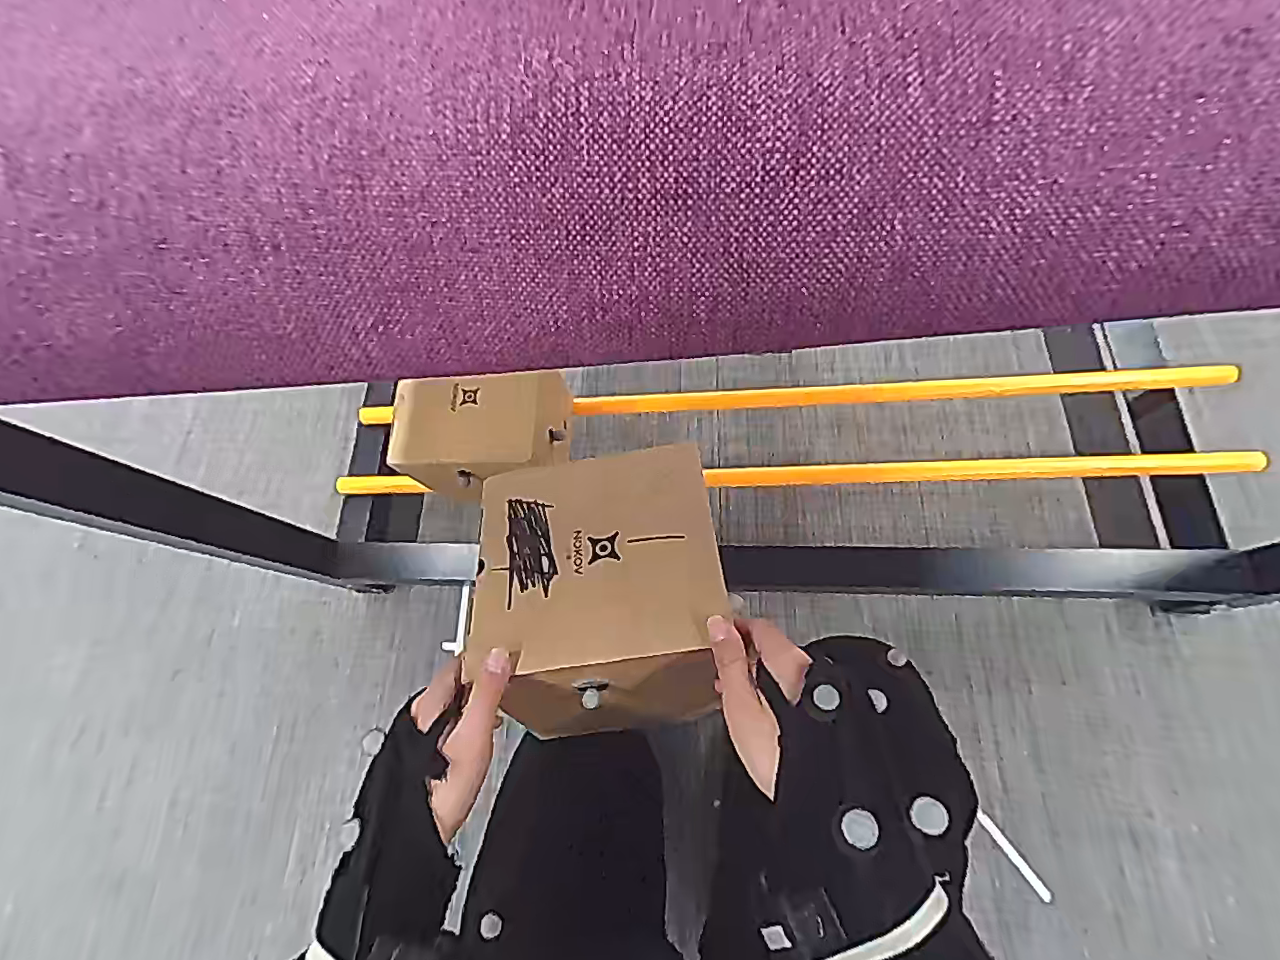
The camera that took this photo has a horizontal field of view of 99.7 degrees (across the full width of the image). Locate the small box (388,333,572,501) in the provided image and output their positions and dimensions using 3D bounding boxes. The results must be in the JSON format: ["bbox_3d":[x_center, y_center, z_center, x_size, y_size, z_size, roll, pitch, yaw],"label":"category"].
[{"bbox_3d":[-0.192,-0.074,0.708,0.179,0.176,0.168,-1,71,7],"label":"small box"}]
